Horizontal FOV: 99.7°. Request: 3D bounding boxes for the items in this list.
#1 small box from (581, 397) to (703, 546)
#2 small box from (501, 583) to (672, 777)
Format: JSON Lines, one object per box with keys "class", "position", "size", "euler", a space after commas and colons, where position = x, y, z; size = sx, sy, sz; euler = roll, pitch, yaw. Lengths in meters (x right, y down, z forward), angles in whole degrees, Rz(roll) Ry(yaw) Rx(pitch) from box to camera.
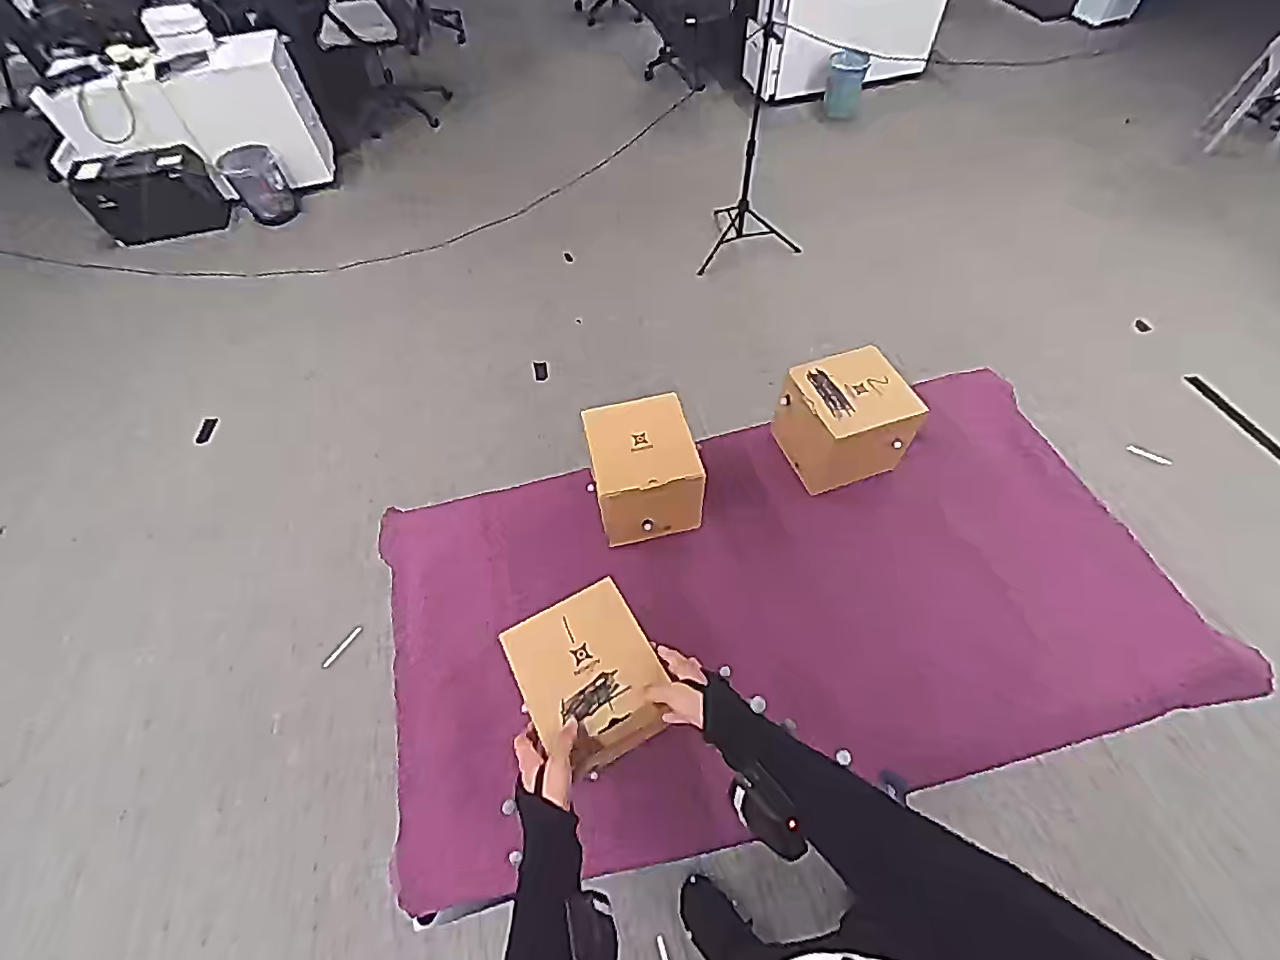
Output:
{"class": "small box", "position": [-0.001, -0.012, 0.925], "size": [0.168, 0.176, 0.179], "euler": [-13, 57, -6]}
{"class": "small box", "position": [-0.064, 0.278, 0.736], "size": [0.168, 0.176, 0.179], "euler": [-25, 55, -14]}
